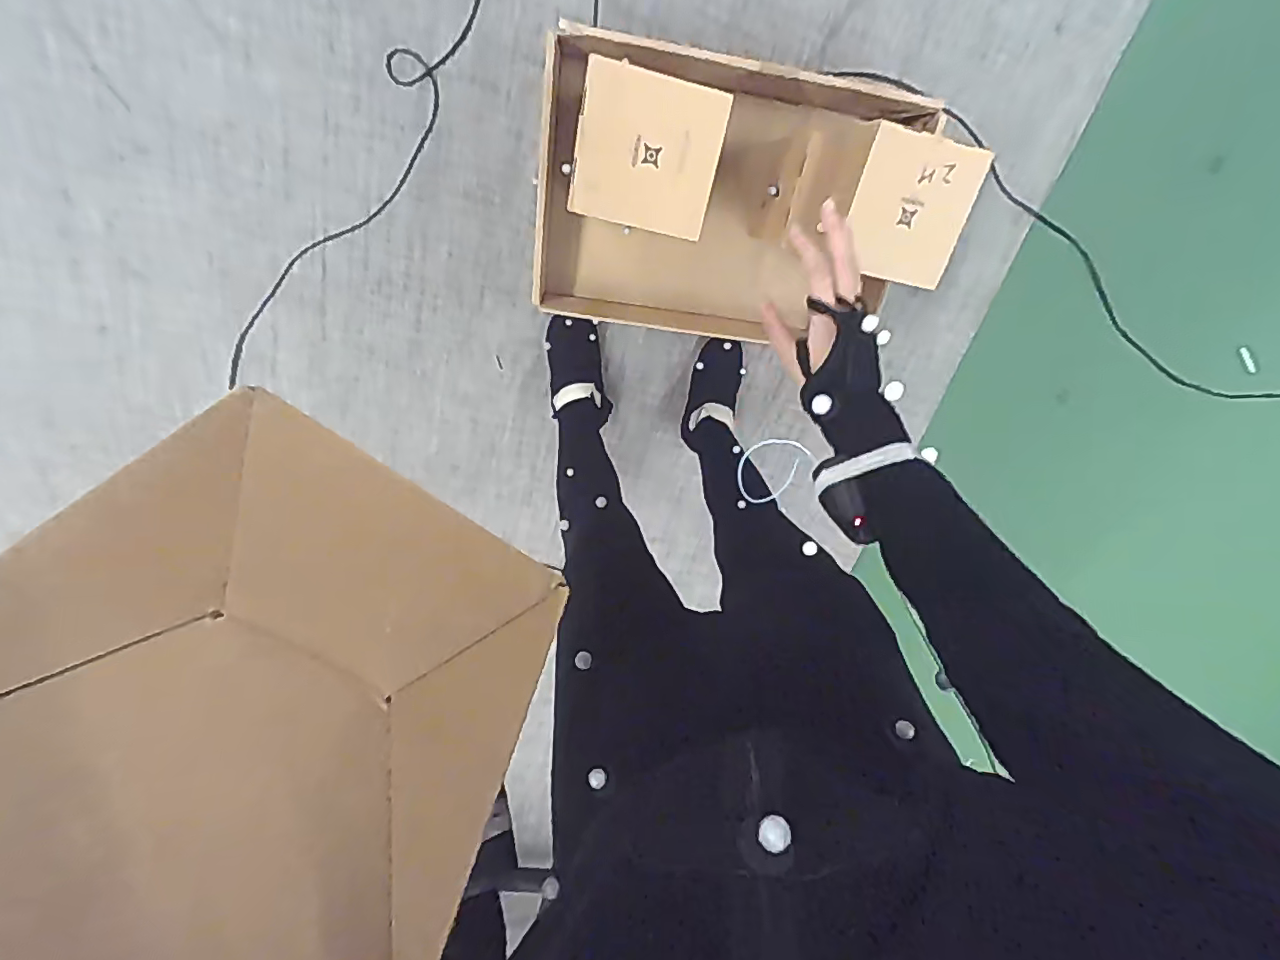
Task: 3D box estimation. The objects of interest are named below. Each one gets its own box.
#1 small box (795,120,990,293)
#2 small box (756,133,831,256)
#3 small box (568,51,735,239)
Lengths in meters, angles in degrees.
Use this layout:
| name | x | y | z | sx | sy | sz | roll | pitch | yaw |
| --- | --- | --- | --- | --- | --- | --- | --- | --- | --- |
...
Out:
| name | x | y | z | sx | sy | sz | roll | pitch | yaw |
| --- | --- | --- | --- | --- | --- | --- | --- | --- | --- |
| small box | 0.347 | -0.391 | 0.786 | 0.168 | 0.176 | 0.179 | 9 | 116 | -11 |
| small box | 0.318 | -0.471 | 0.928 | 0.179 | 0.176 | 0.168 | 10 | 116 | -10 |
| small box | 0.004 | -0.438 | 0.730 | 0.179 | 0.176 | 0.168 | 9 | 118 | -11 |
